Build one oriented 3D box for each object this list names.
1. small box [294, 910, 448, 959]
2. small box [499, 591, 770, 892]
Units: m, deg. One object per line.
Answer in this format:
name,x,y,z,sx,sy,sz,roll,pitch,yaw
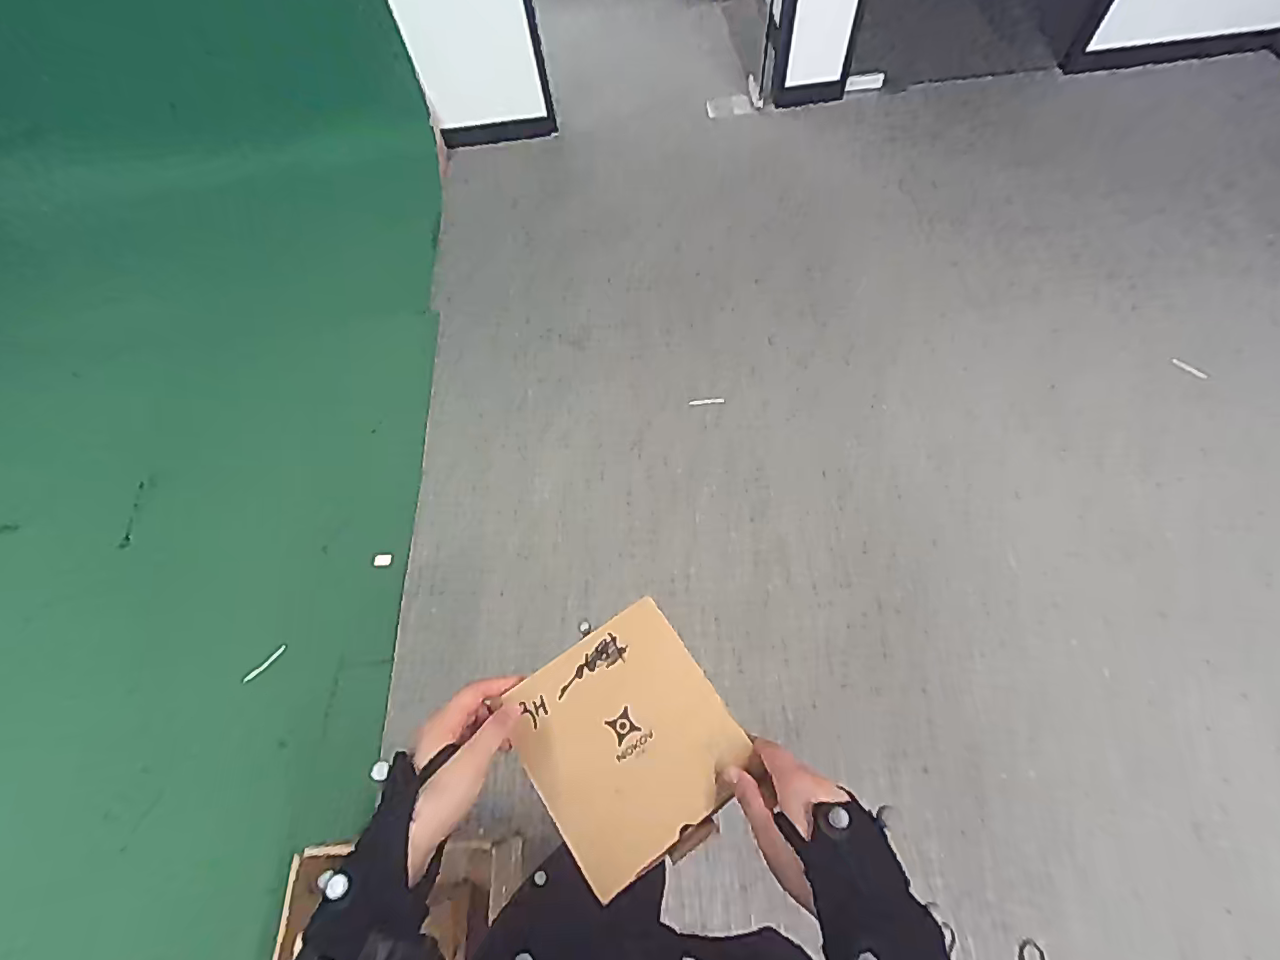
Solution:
small box,-0.428,0.806,0.854,0.179,0.176,0.168,-4,65,2
small box,-0.009,0.231,0.524,0.168,0.176,0.179,-32,76,-13
